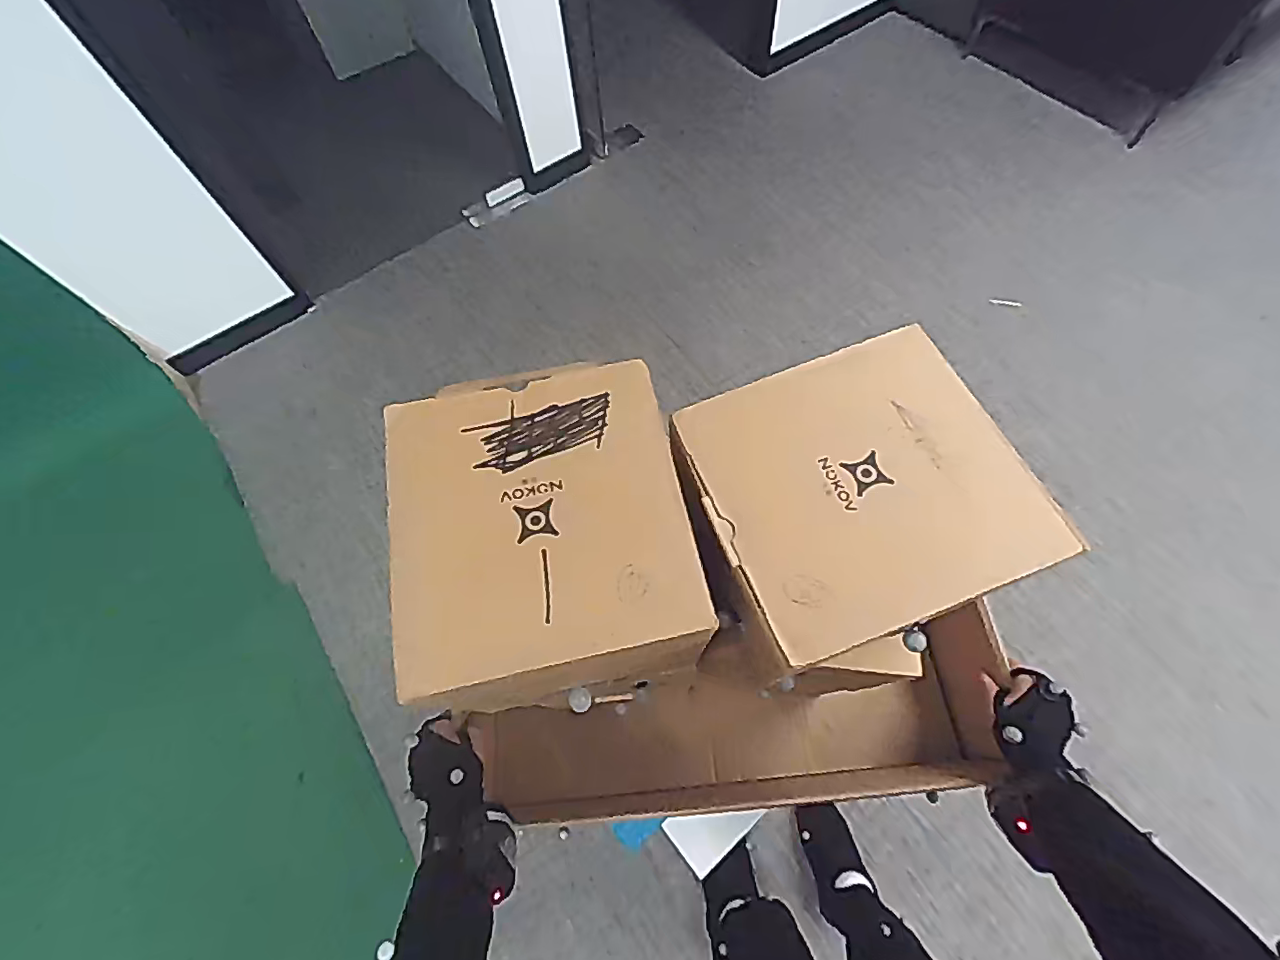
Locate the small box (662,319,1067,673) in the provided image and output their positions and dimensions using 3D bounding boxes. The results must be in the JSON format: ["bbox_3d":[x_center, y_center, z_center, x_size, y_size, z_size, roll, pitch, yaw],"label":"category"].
[{"bbox_3d":[0.128,0.025,0.385,0.179,0.176,0.168,-20,65,-3],"label":"small box"}]
